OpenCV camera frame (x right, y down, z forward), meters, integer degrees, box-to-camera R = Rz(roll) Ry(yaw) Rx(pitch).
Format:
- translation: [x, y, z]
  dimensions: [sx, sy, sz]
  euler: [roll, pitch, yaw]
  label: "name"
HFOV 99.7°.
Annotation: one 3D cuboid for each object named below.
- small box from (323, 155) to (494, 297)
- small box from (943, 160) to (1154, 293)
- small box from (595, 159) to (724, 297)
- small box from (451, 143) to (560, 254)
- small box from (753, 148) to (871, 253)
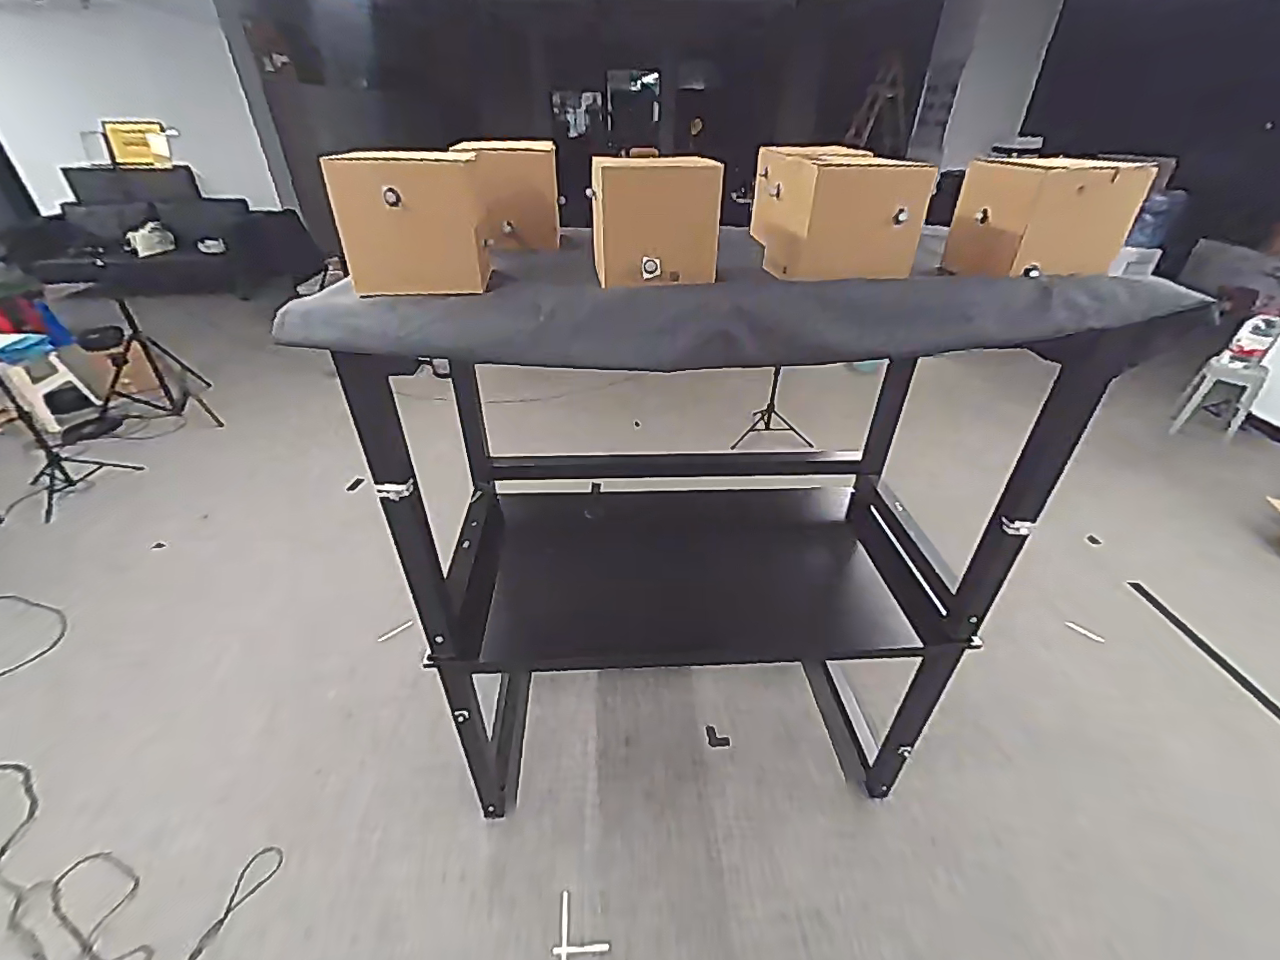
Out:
- translation: [-0.317, -0.368, 0.782]
  dimensions: [0.179, 0.176, 0.168]
  euler: [-3, 34, -8]
  label: "small box"
- translation: [0.615, -0.396, 0.844]
  dimensions: [0.168, 0.176, 0.179]
  euler: [-3, 33, -5]
  label: "small box"
- translation: [0.020, -0.381, 0.813]
  dimensions: [0.168, 0.176, 0.179]
  euler: [-4, 34, -6]
  label: "small box"
- translation: [-0.244, -0.537, 1.034]
  dimensions: [0.179, 0.176, 0.168]
  euler: [-2, 35, -6]
  label: "small box"
- translation: [0.331, -0.557, 1.078]
  dimensions: [0.168, 0.176, 0.179]
  euler: [-2, 35, -4]
  label: "small box"
